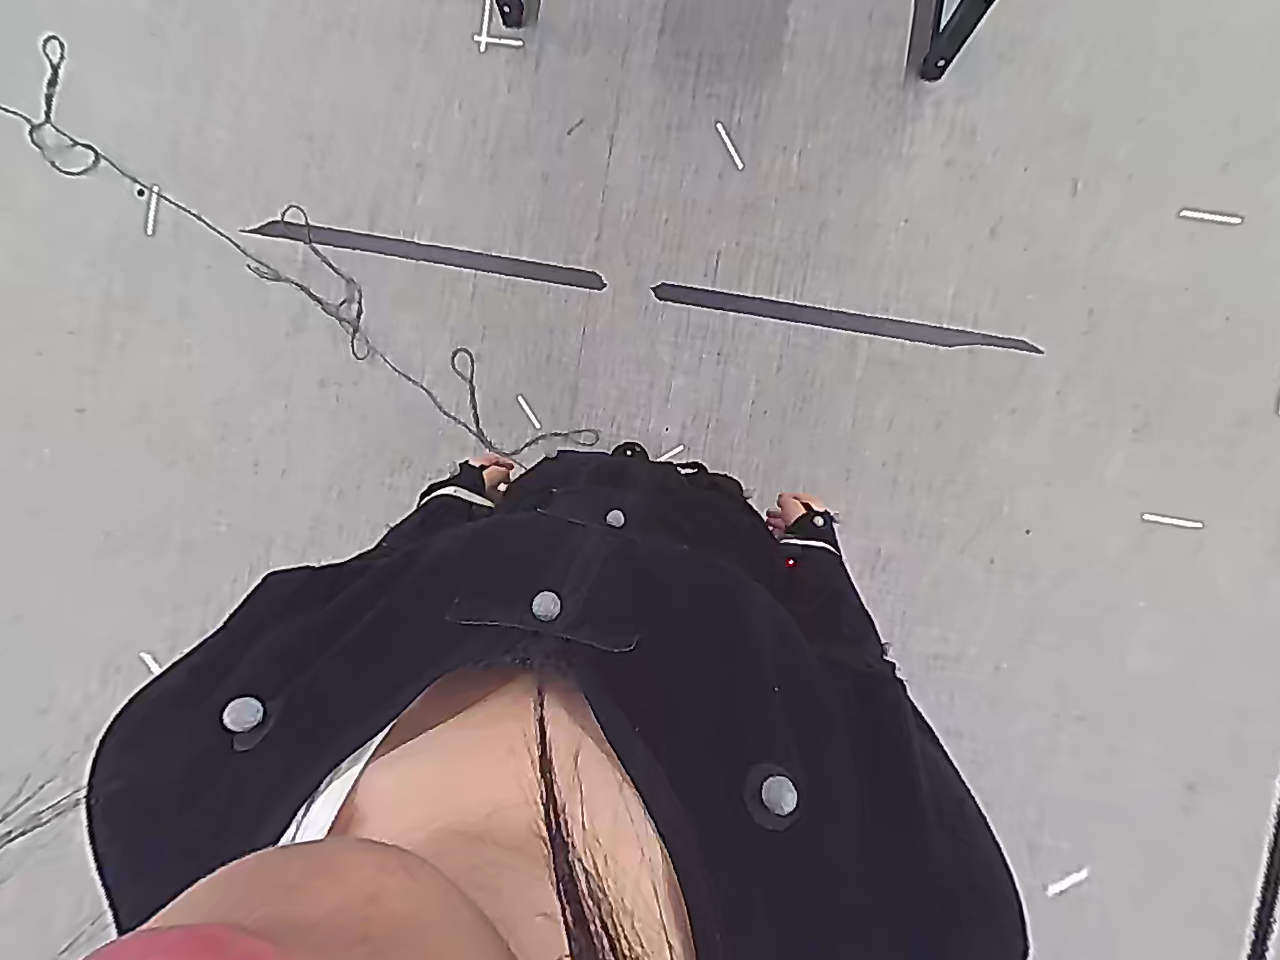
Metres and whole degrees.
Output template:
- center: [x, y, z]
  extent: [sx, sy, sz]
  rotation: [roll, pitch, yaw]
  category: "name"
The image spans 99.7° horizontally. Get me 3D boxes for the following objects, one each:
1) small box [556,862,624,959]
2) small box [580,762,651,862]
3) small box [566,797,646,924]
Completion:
- center: [-0.125, 1.133, 1.418]
  extent: [0.168, 0.176, 0.179]
  rotation: [0, 91, 1]
  category: "small box"
- center: [-0.061, 0.859, 1.410]
  extent: [0.168, 0.176, 0.179]
  rotation: [-5, 90, 2]
  category: "small box"
- center: [-0.073, 0.867, 1.245]
  extent: [0.168, 0.176, 0.179]
  rotation: [-4, 91, 0]
  category: "small box"
